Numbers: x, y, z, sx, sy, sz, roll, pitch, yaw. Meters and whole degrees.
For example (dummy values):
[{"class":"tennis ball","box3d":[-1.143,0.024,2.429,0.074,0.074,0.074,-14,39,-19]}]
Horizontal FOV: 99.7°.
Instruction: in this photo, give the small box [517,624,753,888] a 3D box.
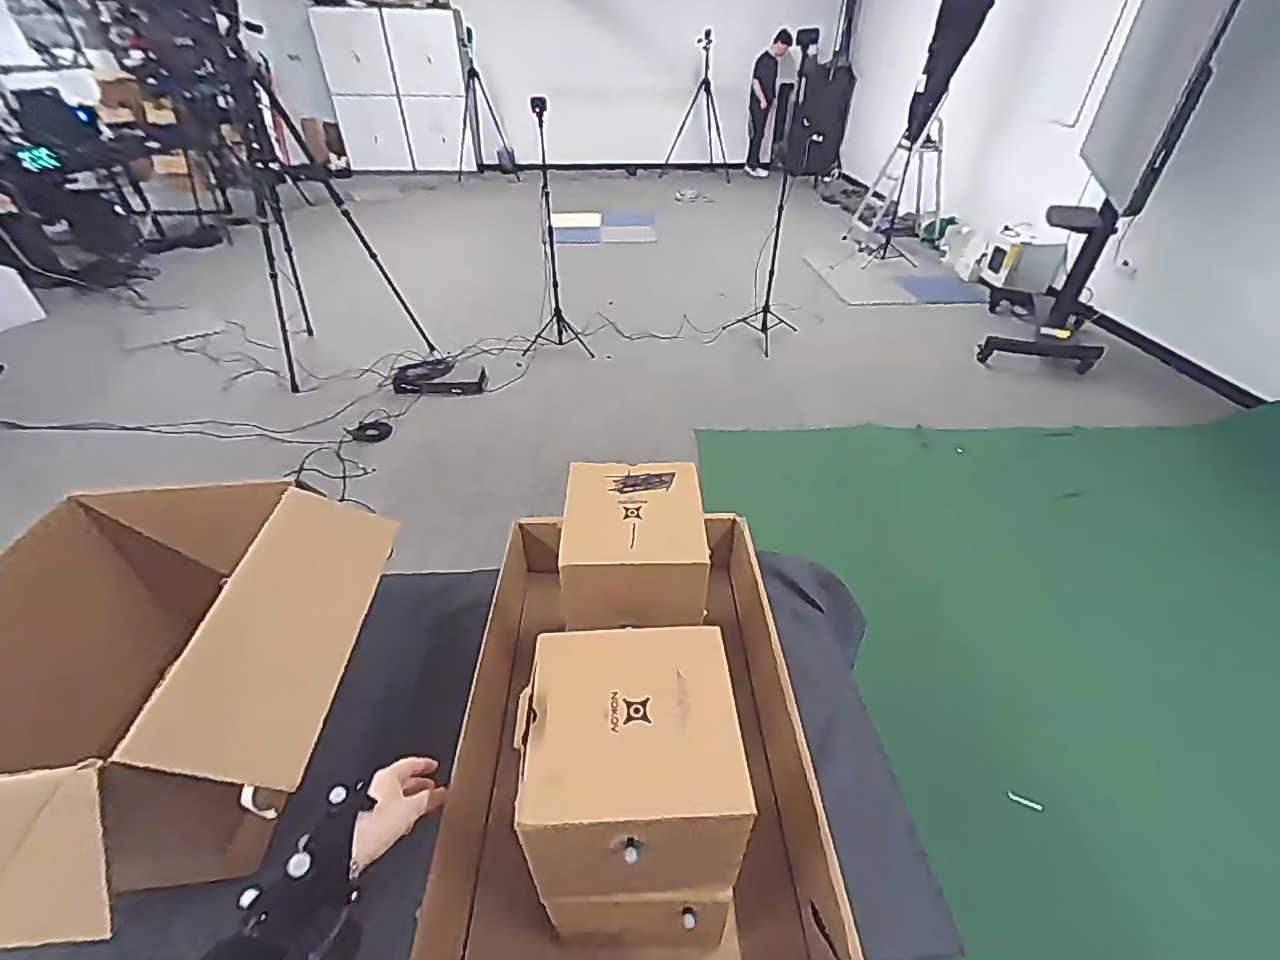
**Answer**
[{"class":"small box","box3d":[-0.006,0.255,0.502,0.179,0.176,0.168,-2,39,-3]}]

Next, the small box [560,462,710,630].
[{"class":"small box","box3d":[-0.007,0.094,0.696,0.168,0.176,0.179,-1,41,-1]}]
